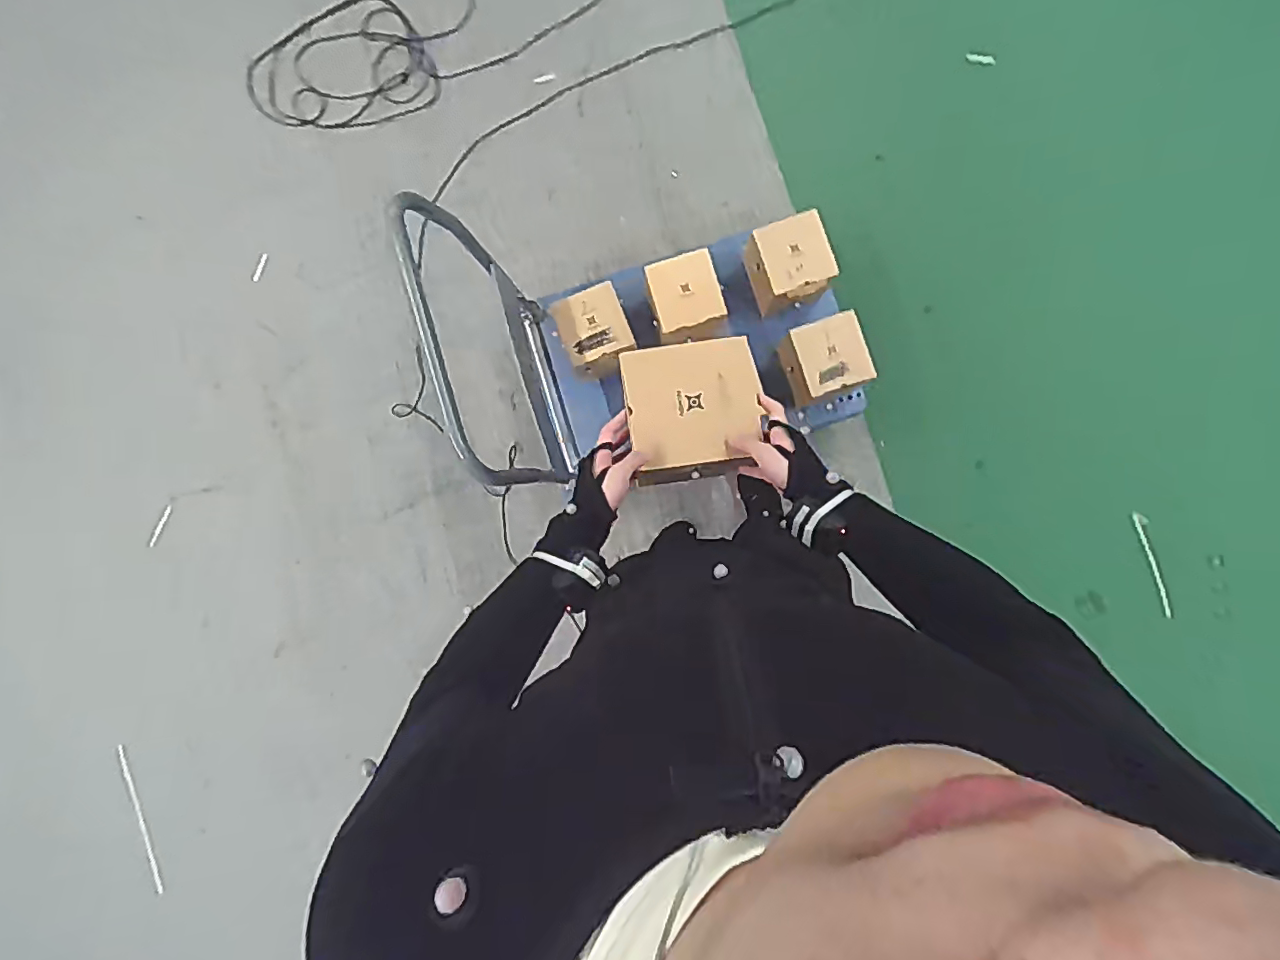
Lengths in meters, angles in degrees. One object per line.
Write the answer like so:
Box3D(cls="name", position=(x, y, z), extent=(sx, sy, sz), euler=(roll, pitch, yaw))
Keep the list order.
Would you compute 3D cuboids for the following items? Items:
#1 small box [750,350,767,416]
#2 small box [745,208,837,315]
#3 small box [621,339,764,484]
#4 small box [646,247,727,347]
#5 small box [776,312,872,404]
Box3D(cls="small box", position=(0.213, -0.222, 1.392), extent=(0.168, 0.176, 0.179), euler=(-16, 87, 1))
Box3D(cls="small box", position=(0.380, -0.555, 1.396), extent=(0.168, 0.176, 0.179), euler=(-18, 87, 3))
Box3D(cls="small box", position=(0.071, -0.090, 0.793), extent=(0.179, 0.176, 0.168), euler=(-6, 83, 0))
Box3D(cls="small box", position=(0.114, -0.467, 1.408), extent=(0.168, 0.176, 0.179), euler=(-17, 89, 2))
Box3D(cls="small box", position=(0.469, -0.305, 1.400), extent=(0.168, 0.176, 0.179), euler=(-18, 87, 1))
